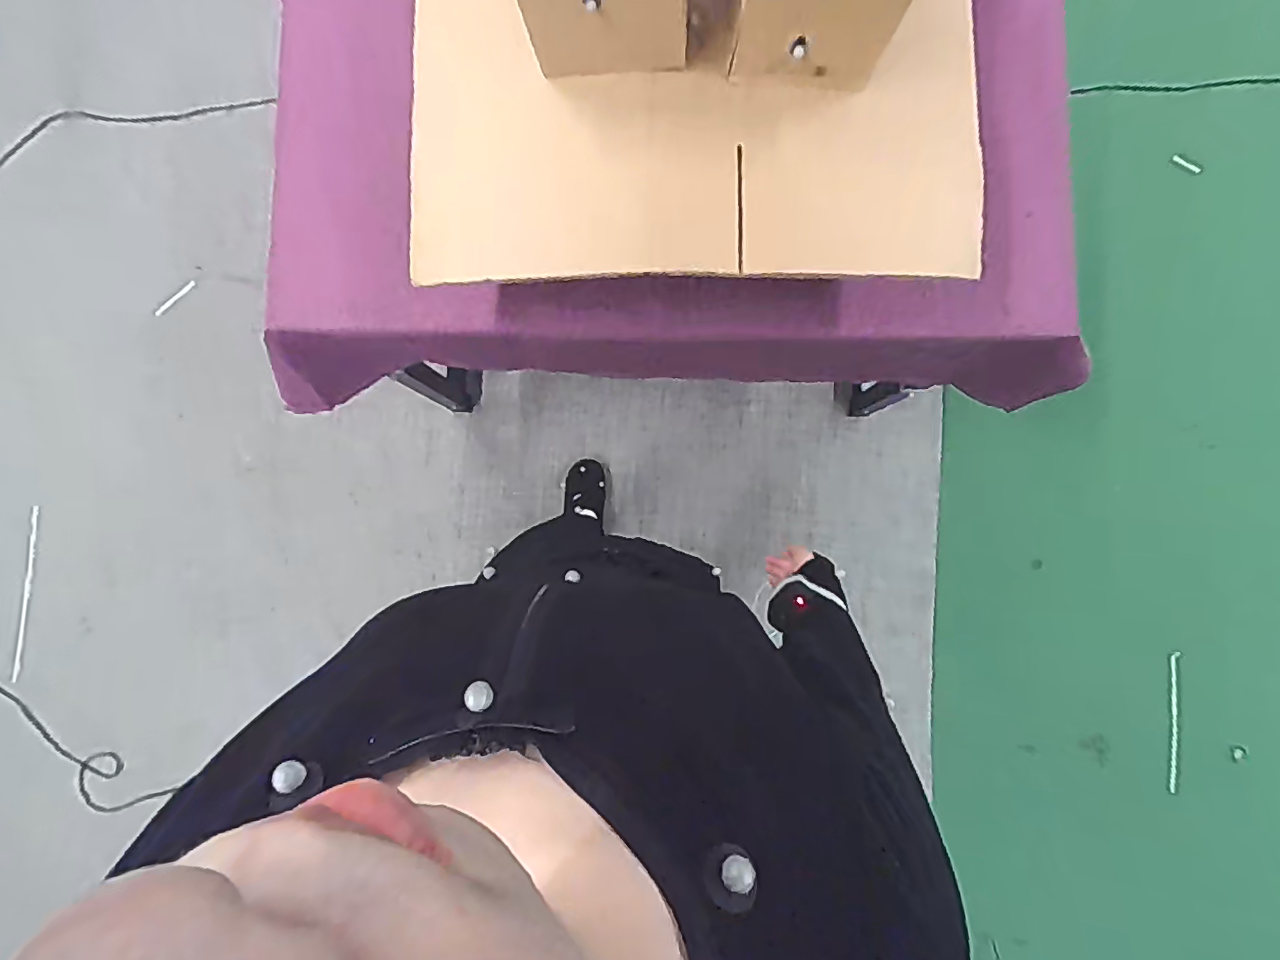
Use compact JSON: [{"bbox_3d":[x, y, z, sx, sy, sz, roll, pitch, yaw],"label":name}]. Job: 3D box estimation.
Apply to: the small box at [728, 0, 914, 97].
[{"bbox_3d":[0.191,-0.559,0.576,0.168,0.176,0.179,2,87,-2],"label":"small box"}]
